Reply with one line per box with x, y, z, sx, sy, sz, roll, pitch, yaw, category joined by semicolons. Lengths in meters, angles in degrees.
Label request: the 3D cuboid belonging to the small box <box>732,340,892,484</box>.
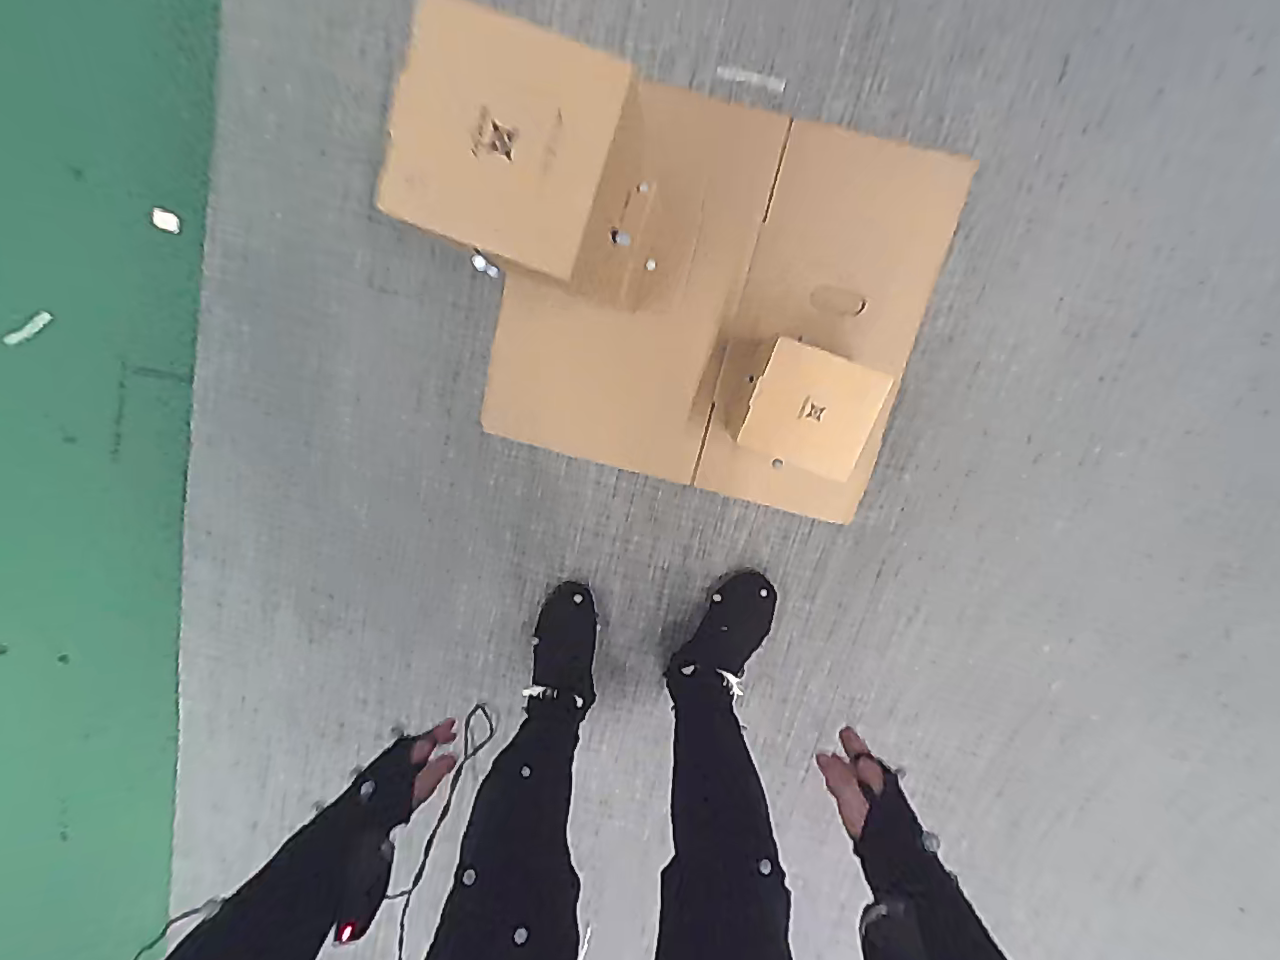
0.256;-0.113;0.852;0.179;0.176;0.168;20;103;2;small box

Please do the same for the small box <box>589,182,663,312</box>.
-0.073;-0.366;0.831;0.179;0.176;0.168;19;103;1;small box

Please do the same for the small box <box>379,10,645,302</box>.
-0.106;-0.281;0.516;0.179;0.176;0.168;21;104;1;small box
